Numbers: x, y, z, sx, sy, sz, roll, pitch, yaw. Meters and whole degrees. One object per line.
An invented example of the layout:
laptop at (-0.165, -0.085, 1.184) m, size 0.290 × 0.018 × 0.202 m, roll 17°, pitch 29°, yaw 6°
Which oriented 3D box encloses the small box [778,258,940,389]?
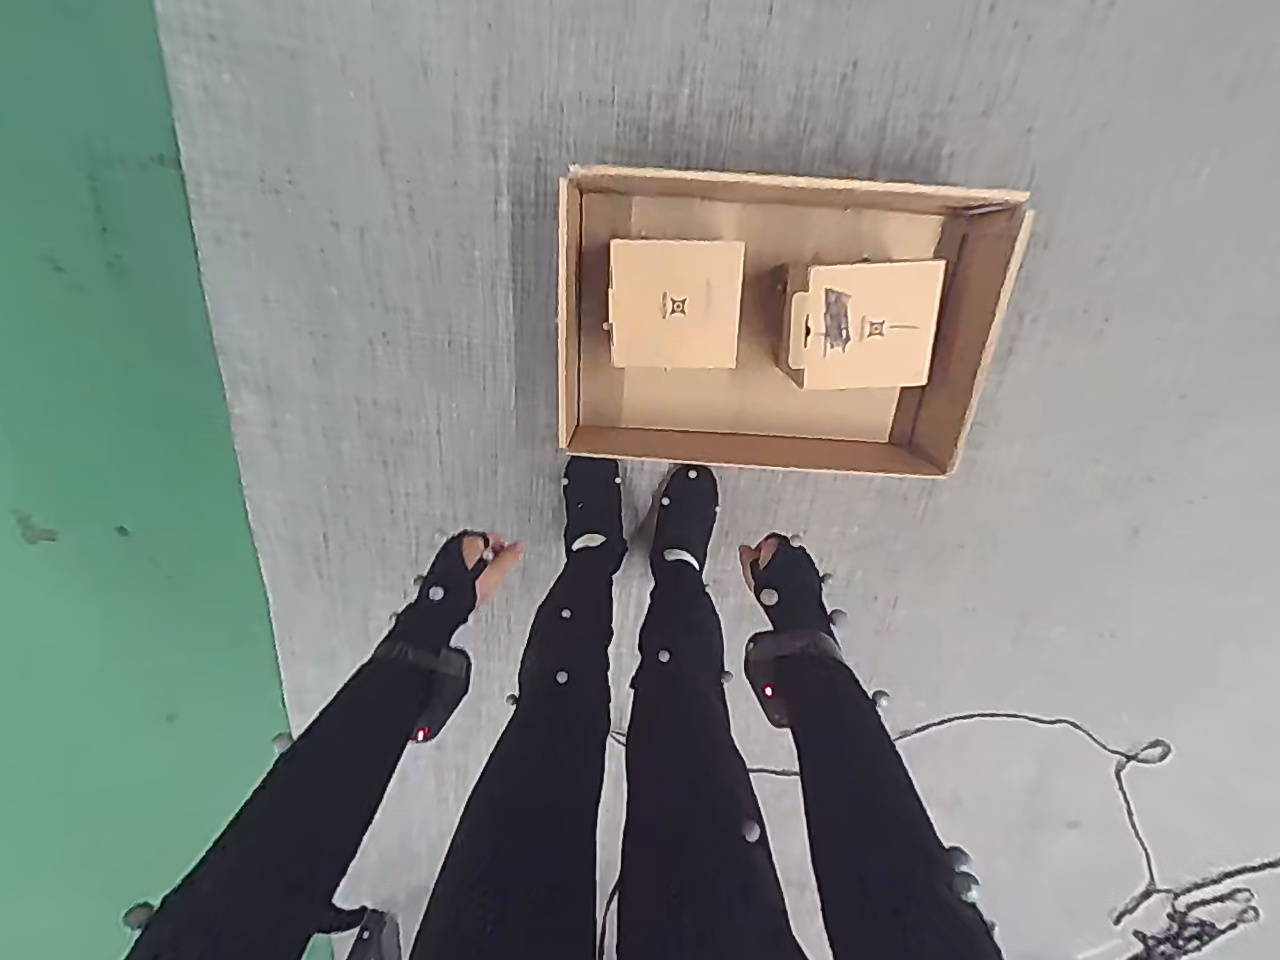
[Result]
small box at (0.307, -0.234, 0.801) m, size 0.179 × 0.176 × 0.168 m, roll -3°, pitch 112°, yaw 3°

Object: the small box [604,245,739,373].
small box at (0.042, -0.257, 0.798) m, size 0.179 × 0.176 × 0.168 m, roll 0°, pitch 113°, yaw 0°
